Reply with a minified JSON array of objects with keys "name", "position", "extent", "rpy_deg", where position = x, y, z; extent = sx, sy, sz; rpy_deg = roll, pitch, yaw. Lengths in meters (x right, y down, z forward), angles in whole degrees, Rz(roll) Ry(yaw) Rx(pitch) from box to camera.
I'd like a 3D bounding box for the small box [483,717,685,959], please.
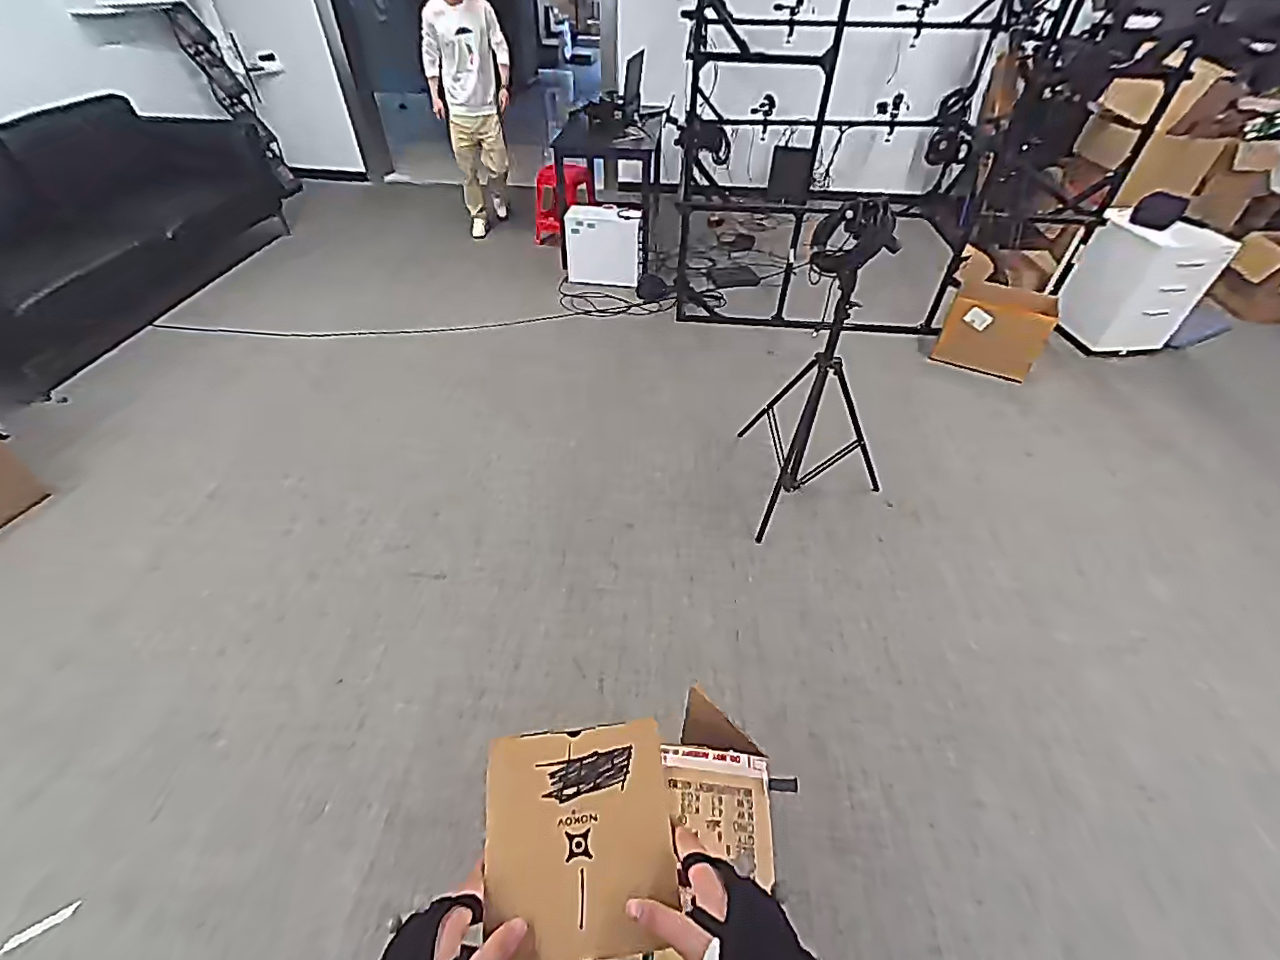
[{"name":"small box","position":[-0.055,0.360,0.548],"extent":[0.168,0.176,0.179],"rpy_deg":[-4,53,-5]}]
